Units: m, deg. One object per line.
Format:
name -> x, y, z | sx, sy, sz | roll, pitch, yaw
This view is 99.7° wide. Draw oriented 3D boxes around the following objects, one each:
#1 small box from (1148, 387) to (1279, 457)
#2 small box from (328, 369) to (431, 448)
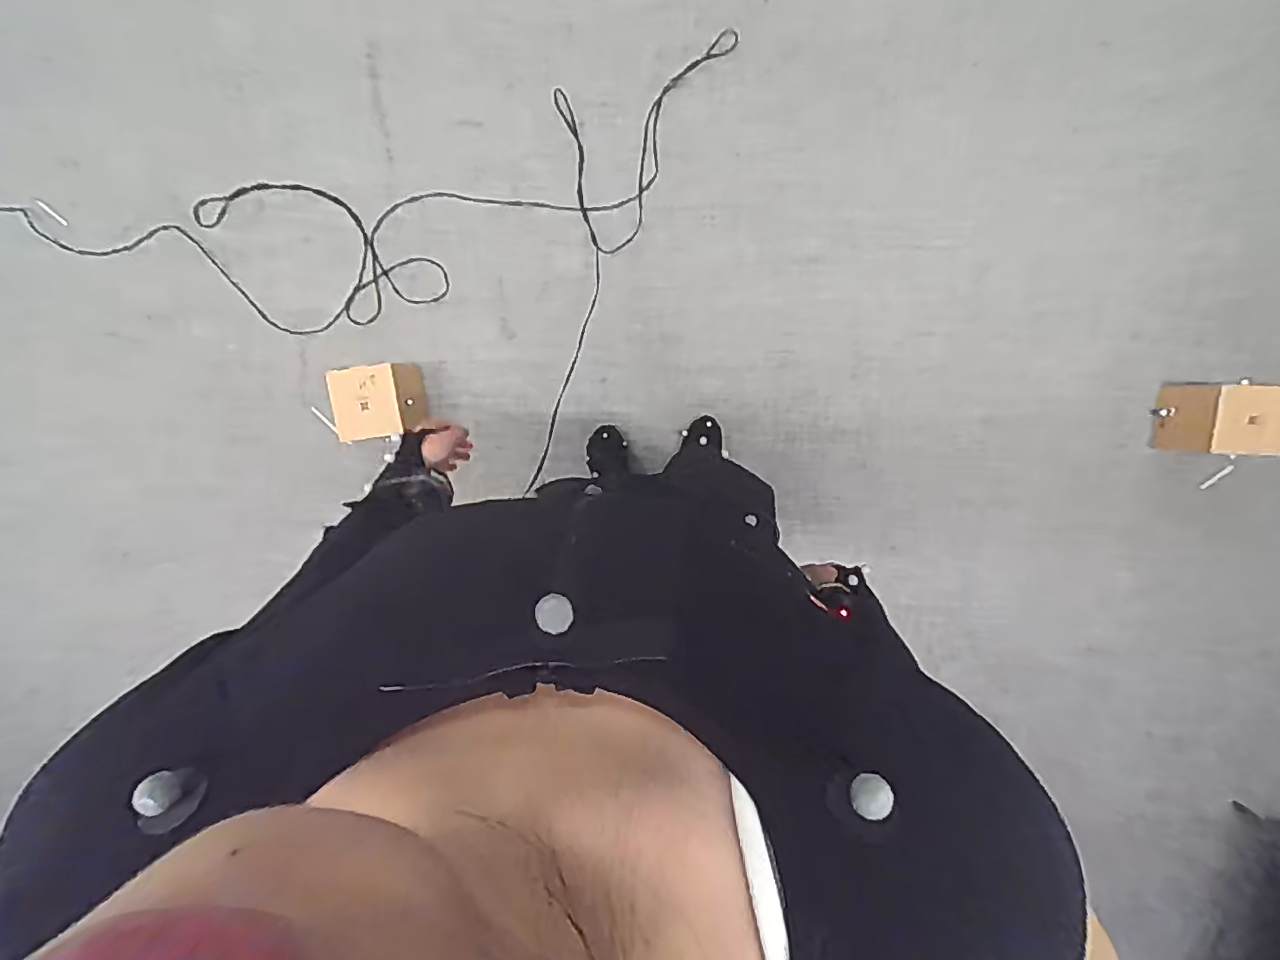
small box -> 1.454, -0.149, 1.364 | 0.179, 0.176, 0.168 | 1, 97, 2
small box -> -0.656, -0.185, 1.384 | 0.168, 0.176, 0.179 | -8, 98, 2
